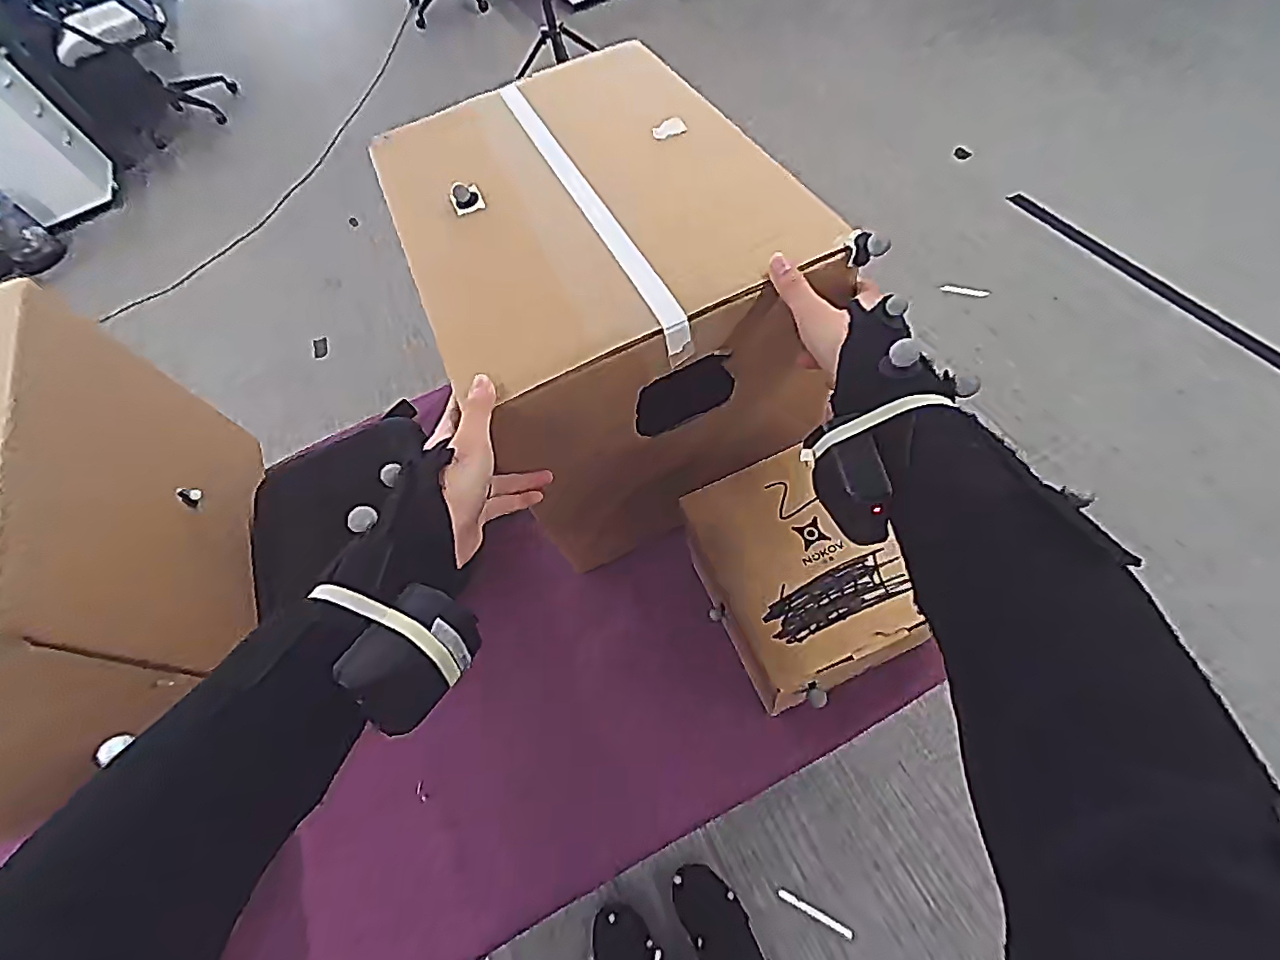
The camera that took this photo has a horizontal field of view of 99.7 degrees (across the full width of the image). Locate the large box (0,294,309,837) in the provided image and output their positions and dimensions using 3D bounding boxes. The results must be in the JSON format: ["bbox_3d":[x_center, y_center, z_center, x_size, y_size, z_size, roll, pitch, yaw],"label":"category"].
[{"bbox_3d":[-0.623,0.096,0.566,0.320,0.320,0.408,-30,62,-6],"label":"large box"}]
